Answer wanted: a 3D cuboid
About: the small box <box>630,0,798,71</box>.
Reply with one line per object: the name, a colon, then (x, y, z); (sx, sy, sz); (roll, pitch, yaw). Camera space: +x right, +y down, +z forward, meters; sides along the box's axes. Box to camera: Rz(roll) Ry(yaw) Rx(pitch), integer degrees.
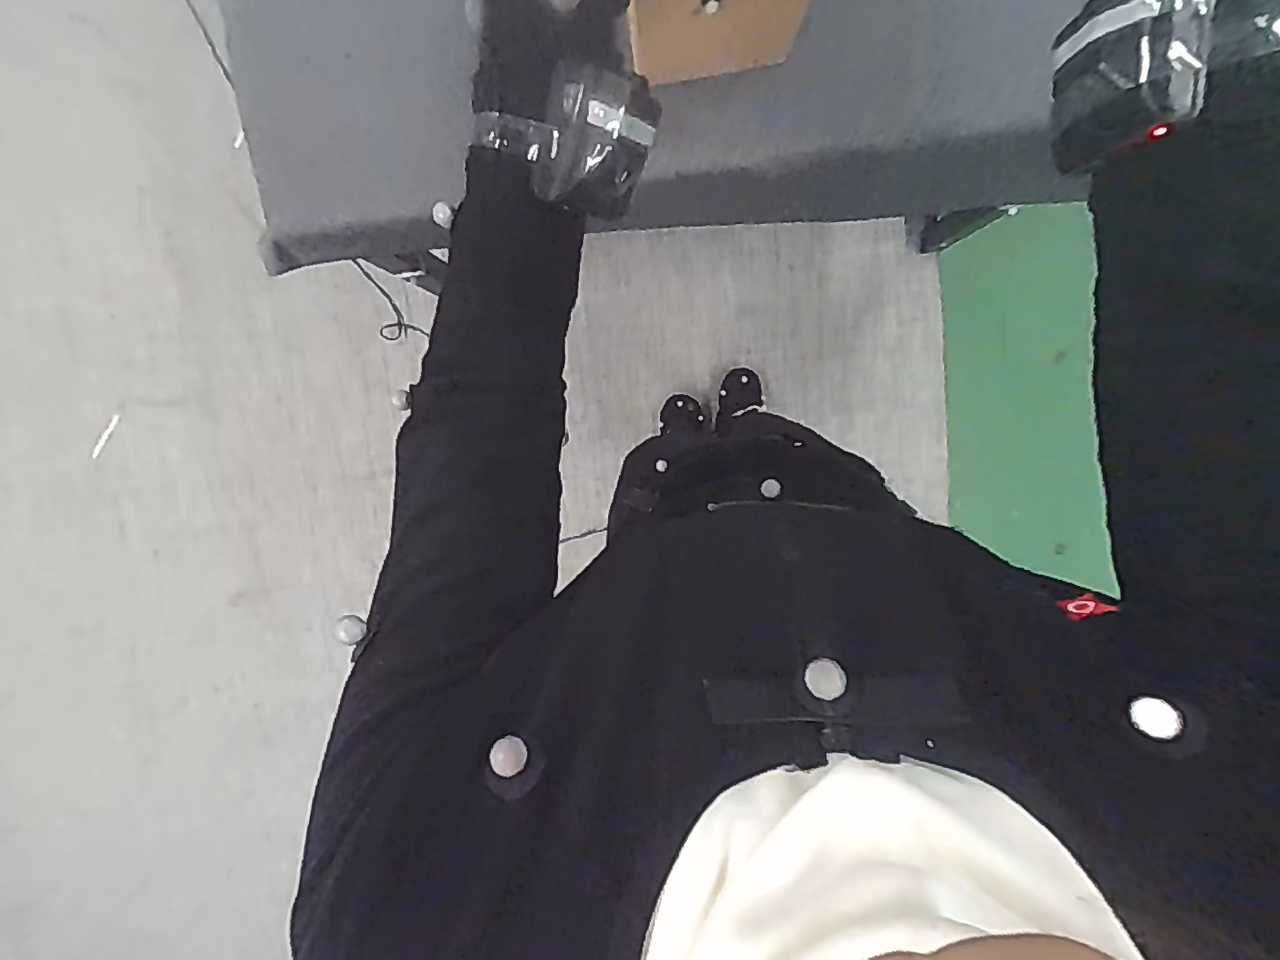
small box: (0.070, -0.550, 0.539); (0.179, 0.176, 0.168); (-8, 98, 3)
